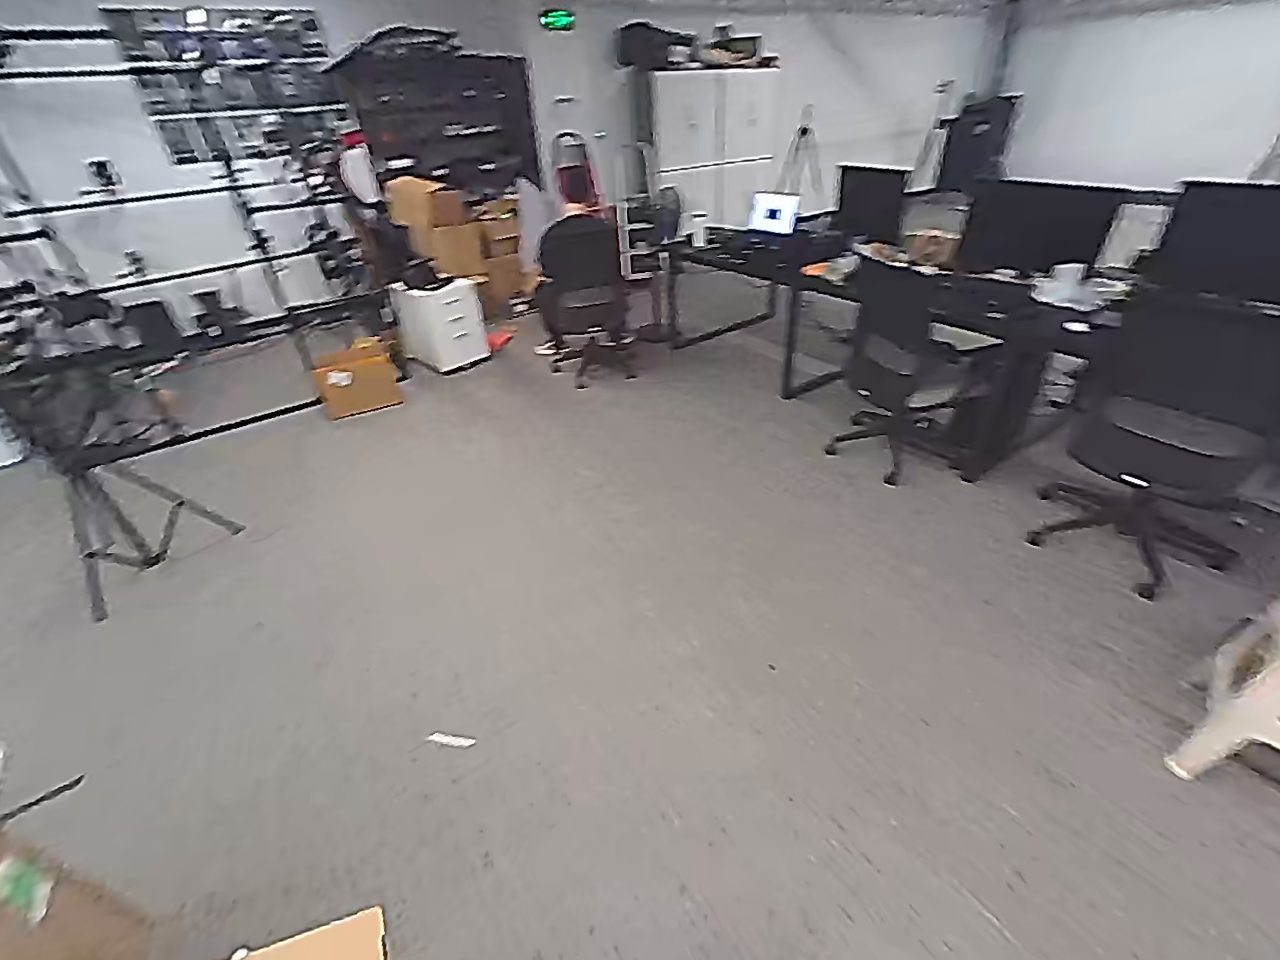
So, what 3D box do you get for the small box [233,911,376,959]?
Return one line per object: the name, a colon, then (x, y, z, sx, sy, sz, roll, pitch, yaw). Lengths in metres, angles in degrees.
small box: (-0.365, 0.587, 0.533, 0.179, 0.176, 0.168, 6, 33, -38)
